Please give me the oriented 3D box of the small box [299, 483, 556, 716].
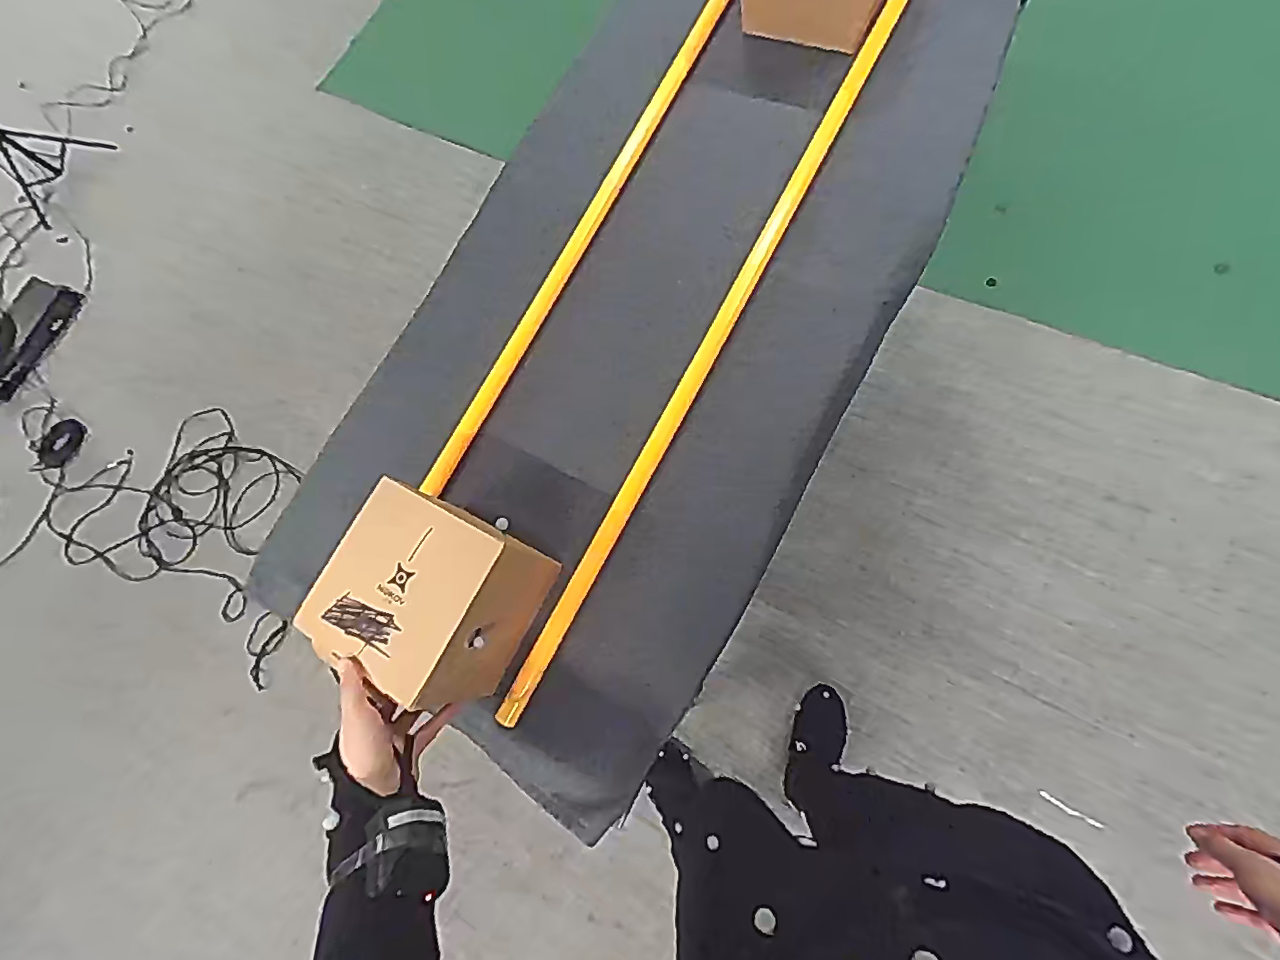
[{"bbox_3d":[-0.218,0.132,0.605,0.168,0.176,0.179,25,80,17],"label":"small box"}]
